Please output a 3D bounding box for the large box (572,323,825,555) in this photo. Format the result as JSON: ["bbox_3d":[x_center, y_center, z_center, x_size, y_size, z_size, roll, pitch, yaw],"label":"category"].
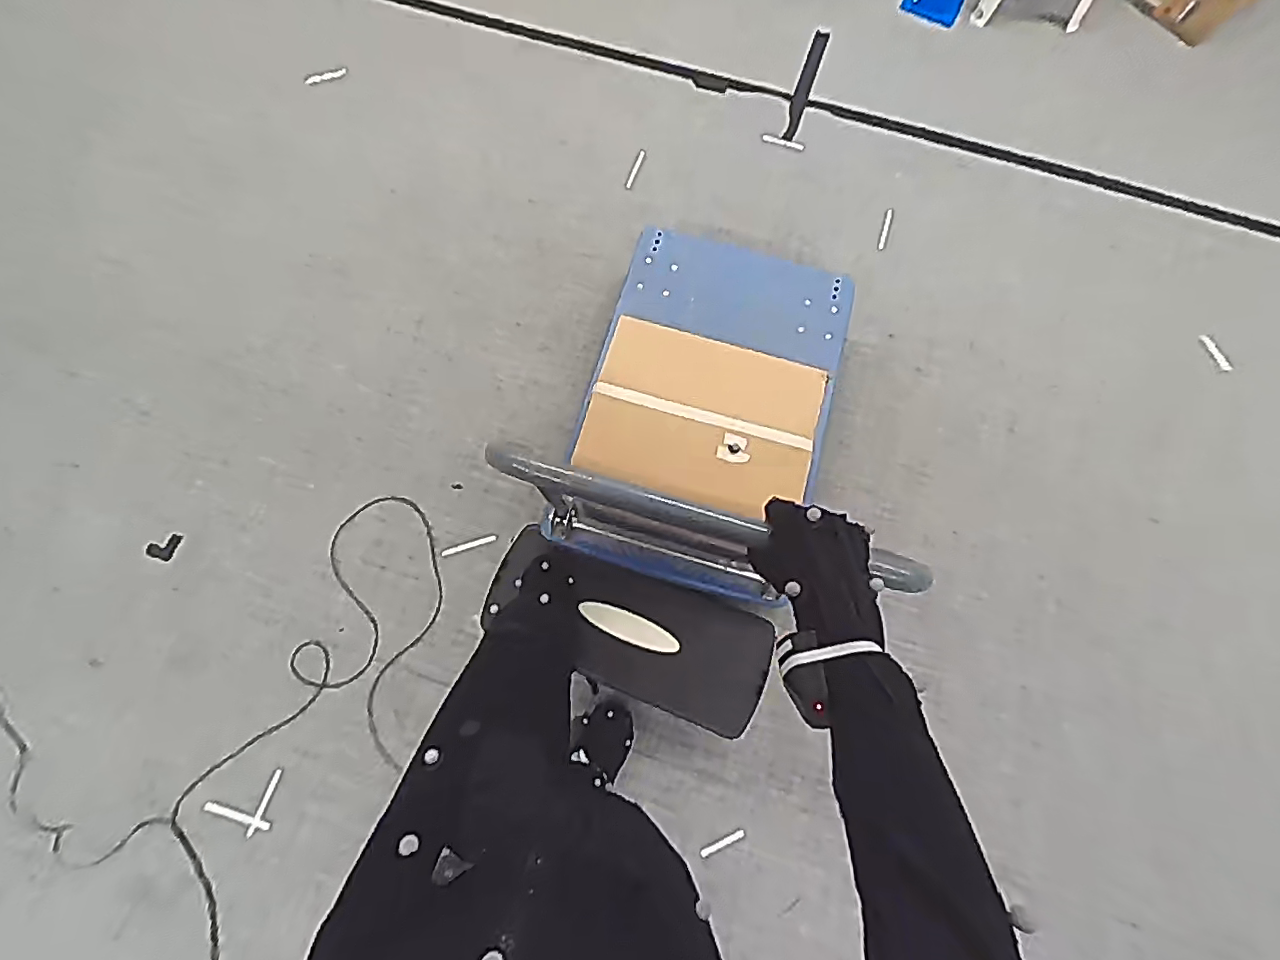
[{"bbox_3d":[0.103,-0.063,1.103,0.408,0.320,0.320,16,75,2],"label":"large box"}]
